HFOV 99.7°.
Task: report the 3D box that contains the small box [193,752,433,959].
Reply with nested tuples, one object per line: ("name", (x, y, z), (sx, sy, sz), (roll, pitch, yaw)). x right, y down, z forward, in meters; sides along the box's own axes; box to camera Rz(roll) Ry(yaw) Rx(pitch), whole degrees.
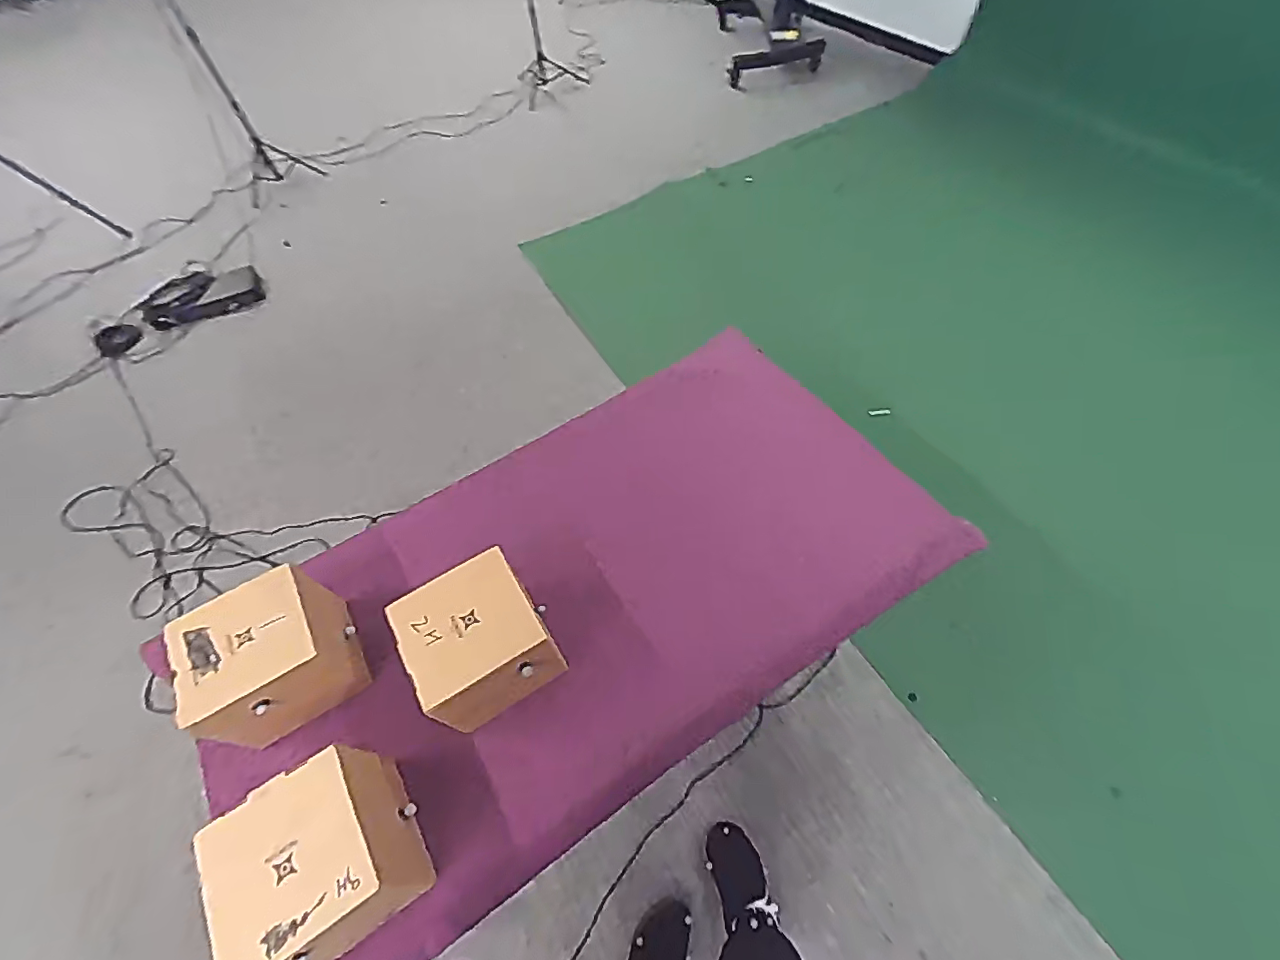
("small box", (-0.382, 0.467, 0.651), (0.168, 0.176, 0.179), (-32, 59, -15))

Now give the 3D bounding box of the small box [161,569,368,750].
("small box", (-0.540, 0.268, 0.793), (0.179, 0.176, 0.168), (-29, 60, -16))

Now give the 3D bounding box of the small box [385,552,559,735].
("small box", (-0.232, 0.241, 0.788), (0.179, 0.176, 0.168), (-29, 59, -15))
